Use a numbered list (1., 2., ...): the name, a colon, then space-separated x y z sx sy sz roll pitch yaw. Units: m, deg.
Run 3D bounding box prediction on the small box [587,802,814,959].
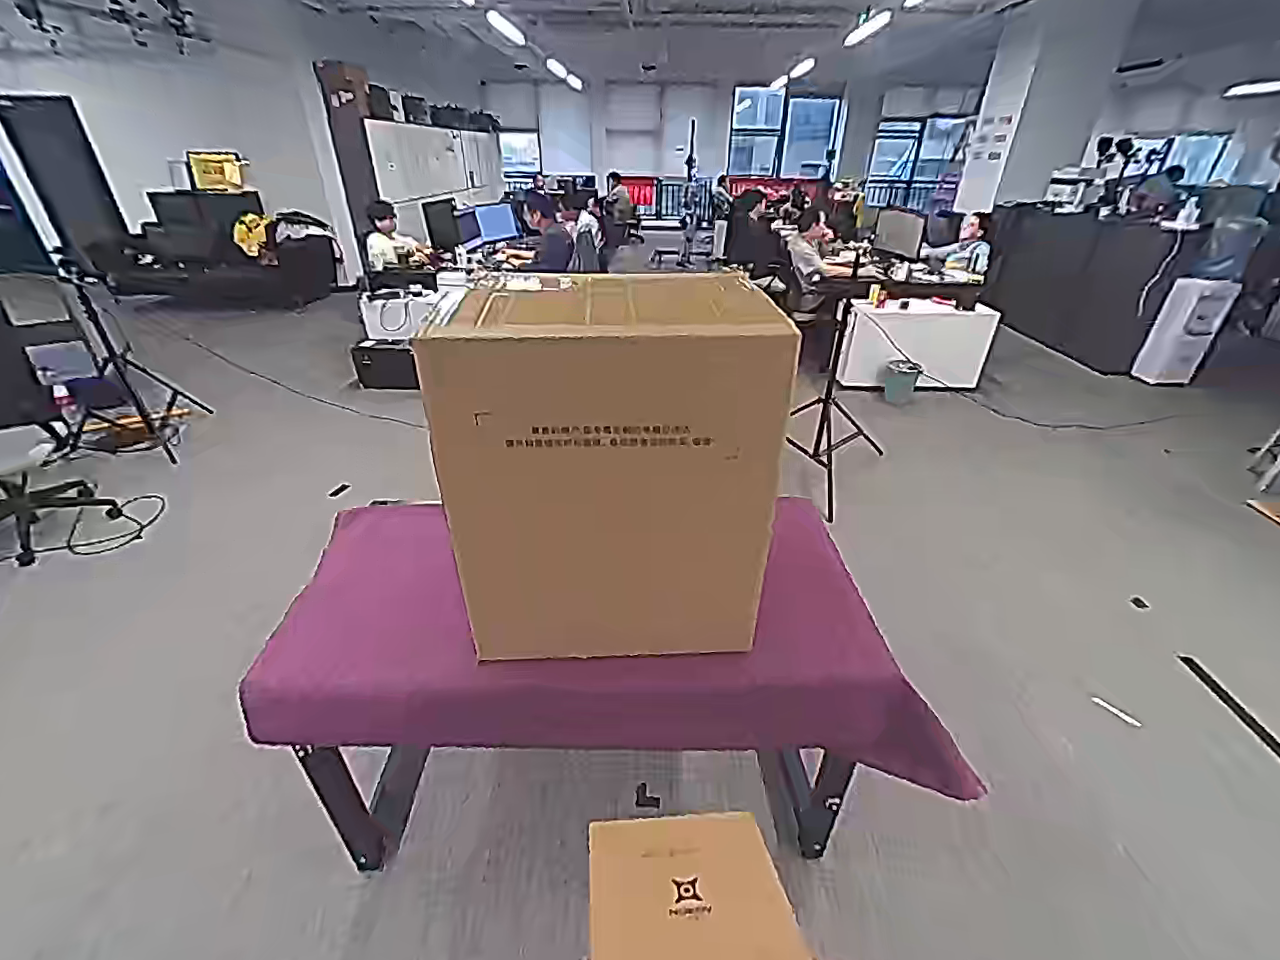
1. small box: 0.038 0.415 0.460 0.168 0.176 0.179 0 8 -6
